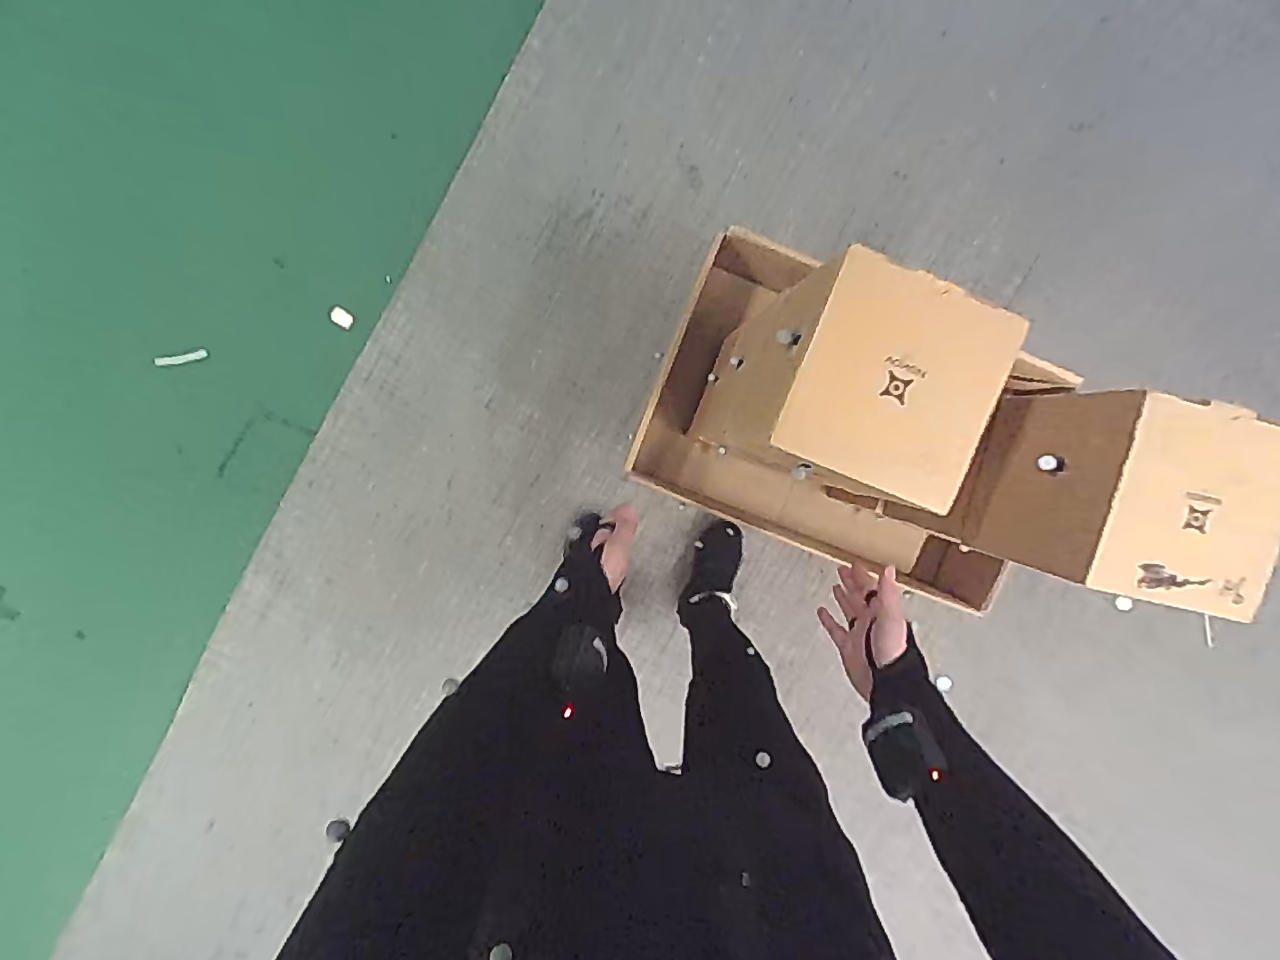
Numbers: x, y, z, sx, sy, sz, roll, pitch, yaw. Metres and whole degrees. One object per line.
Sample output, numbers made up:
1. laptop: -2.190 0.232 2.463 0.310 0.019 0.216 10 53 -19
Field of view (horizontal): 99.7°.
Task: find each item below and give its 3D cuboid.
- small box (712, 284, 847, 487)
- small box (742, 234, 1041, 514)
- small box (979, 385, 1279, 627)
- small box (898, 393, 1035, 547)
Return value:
1. small box: 0.201 -0.106 0.668 0.168 0.176 0.179 24 92 -4
2. small box: 0.210 -0.087 0.508 0.168 0.176 0.179 22 93 -4
3. small box: 0.475 0.018 0.528 0.168 0.176 0.179 13 94 -4
4. small box: 0.462 -0.001 0.691 0.168 0.176 0.179 15 94 -6
